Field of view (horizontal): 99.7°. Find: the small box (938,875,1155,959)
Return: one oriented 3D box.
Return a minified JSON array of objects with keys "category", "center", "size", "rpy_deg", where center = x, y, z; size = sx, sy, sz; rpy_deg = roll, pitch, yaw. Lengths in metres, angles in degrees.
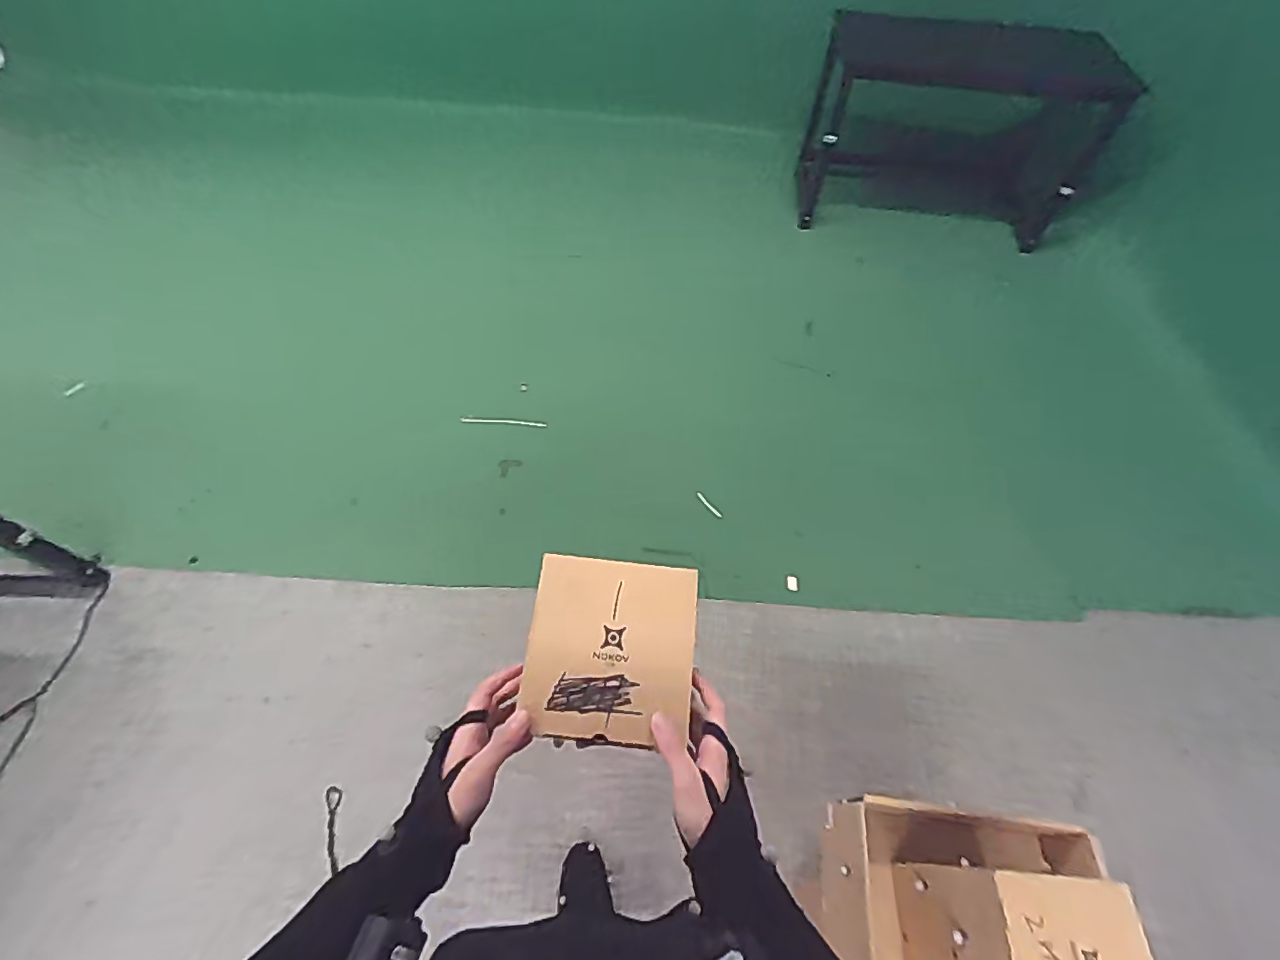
[{"category":"small box","center":[0.534,0.633,0.712],"size":[0.179,0.176,0.168],"rpy_deg":[5,55,1]}]

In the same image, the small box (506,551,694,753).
[{"category":"small box","center":[-0.036,0.195,0.601],"size":[0.168,0.176,0.179],"rpy_deg":[7,64,0]}]
